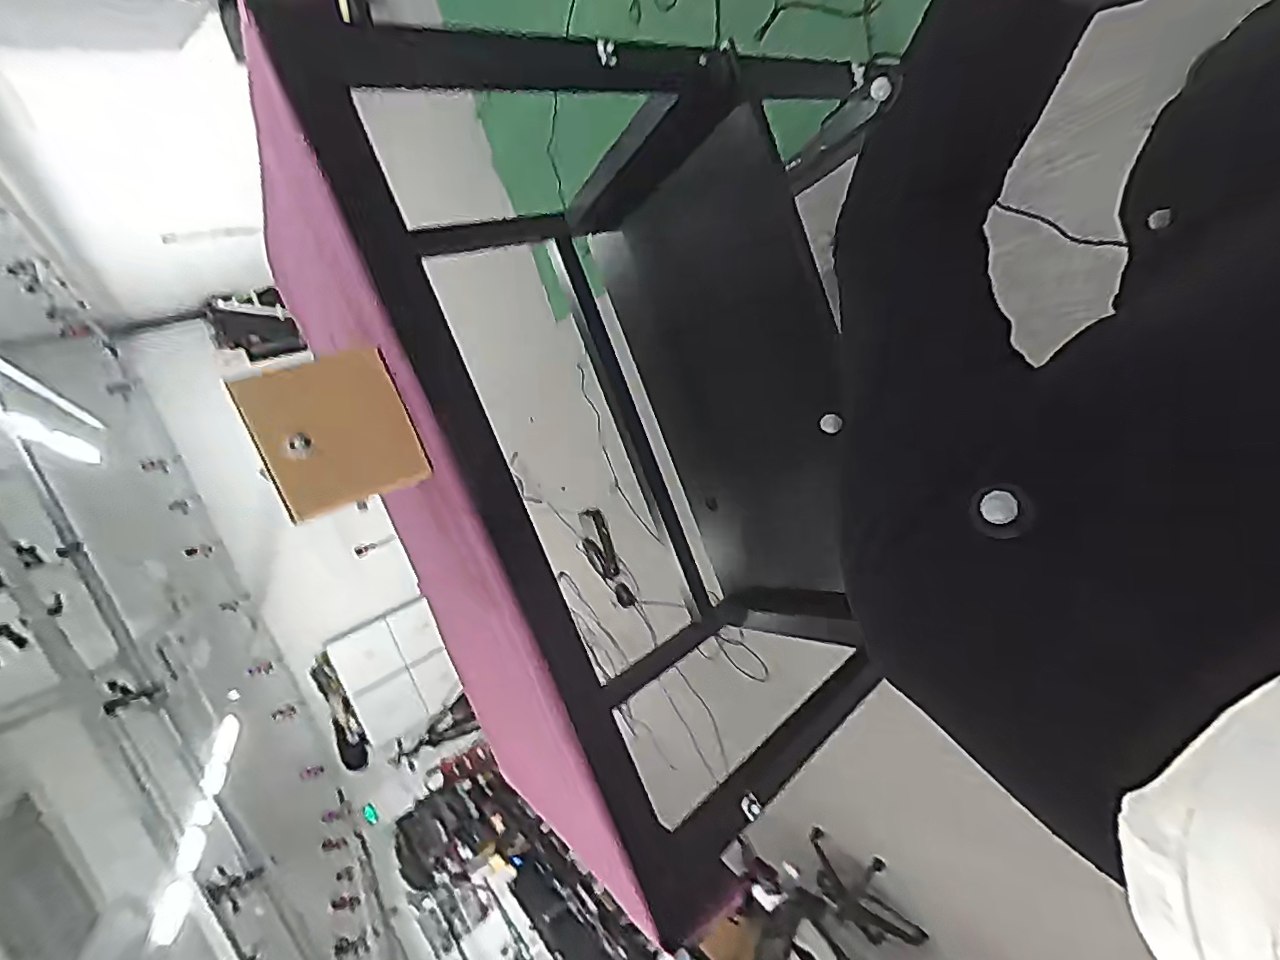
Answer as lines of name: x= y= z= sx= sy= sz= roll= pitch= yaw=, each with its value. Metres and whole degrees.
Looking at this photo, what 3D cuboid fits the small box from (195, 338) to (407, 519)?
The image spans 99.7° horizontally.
small box: x=-0.426 y=-0.063 z=0.701 sx=0.168 sy=0.176 sz=0.179 roll=-7 pitch=107 yaw=56
